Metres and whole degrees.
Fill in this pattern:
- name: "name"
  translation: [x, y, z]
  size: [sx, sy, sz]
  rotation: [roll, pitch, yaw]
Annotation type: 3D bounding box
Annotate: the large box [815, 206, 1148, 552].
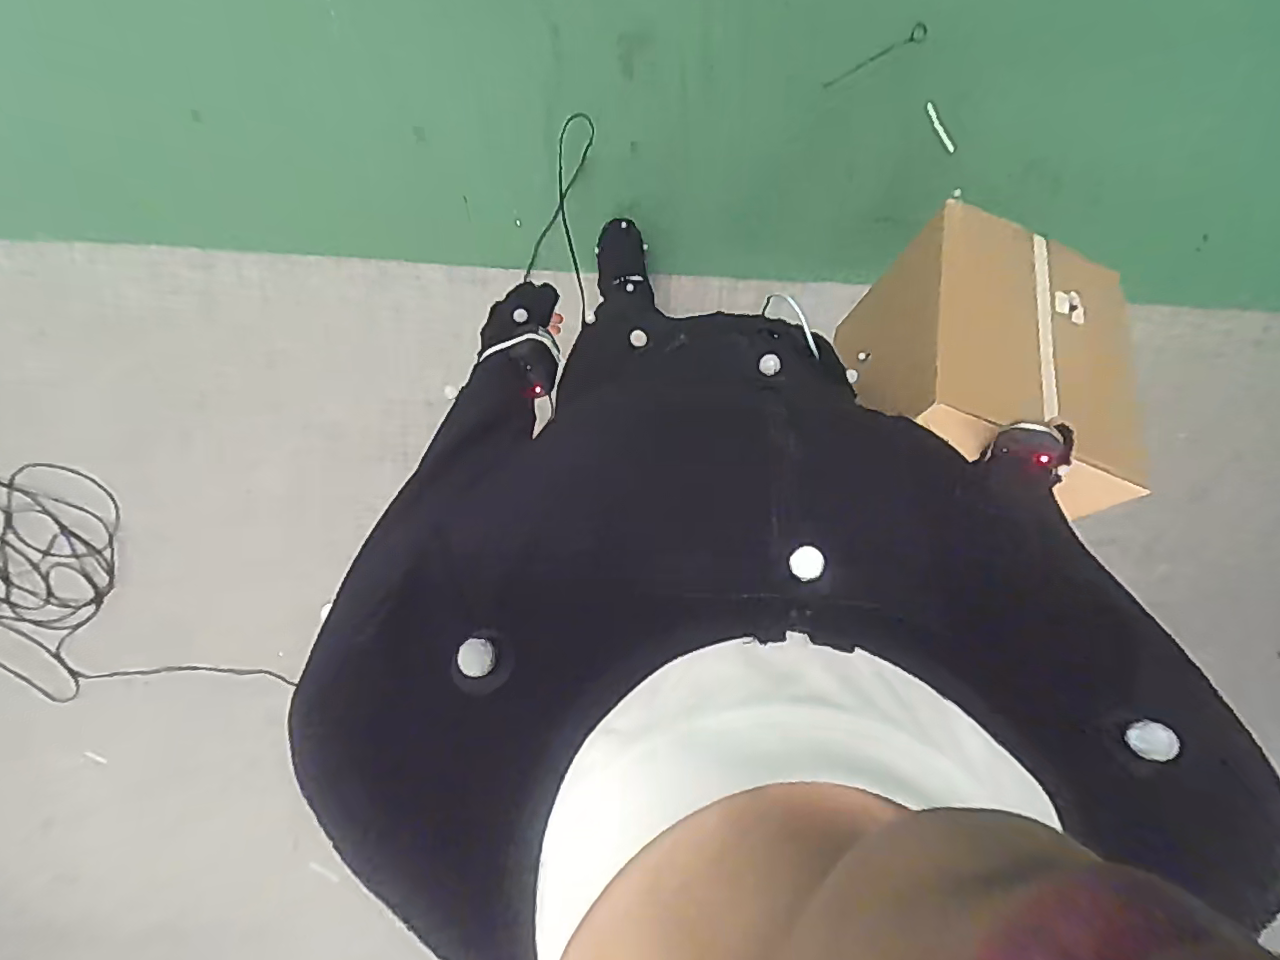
- name: "large box"
  translation: [0.521, -0.146, 0.892]
  size: [0.320, 0.408, 0.320]
  rotation: [21, 153, -6]
